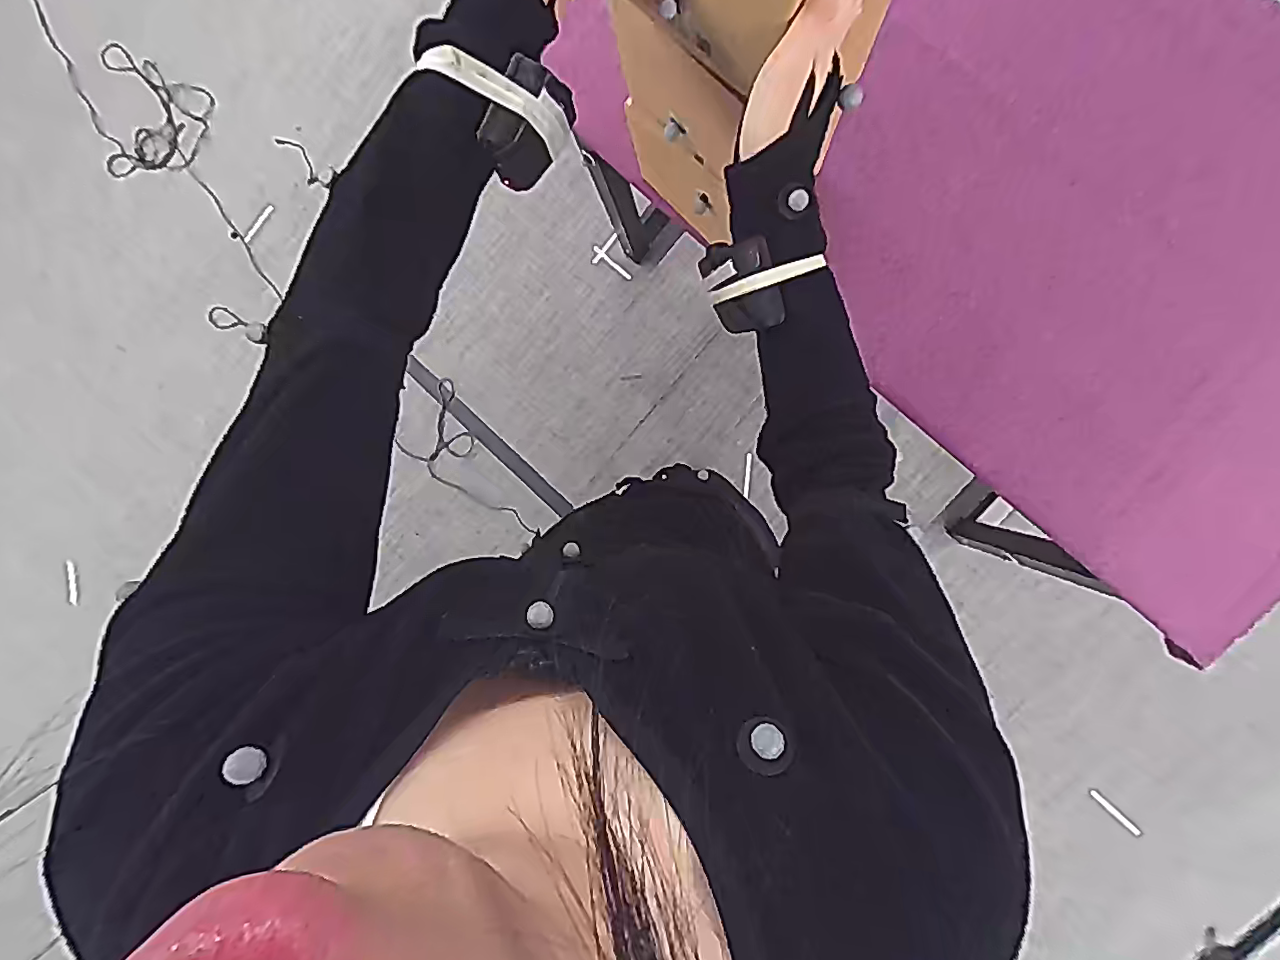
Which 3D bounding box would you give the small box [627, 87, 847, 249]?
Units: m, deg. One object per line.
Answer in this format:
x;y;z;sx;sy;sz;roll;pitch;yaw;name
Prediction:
0.111;-0.409;0.653;0.168;0.176;0.179;-44;87;7;small box

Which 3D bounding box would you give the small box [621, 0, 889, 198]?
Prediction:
0.099;-0.405;0.488;0.168;0.176;0.179;45;98;3;small box
